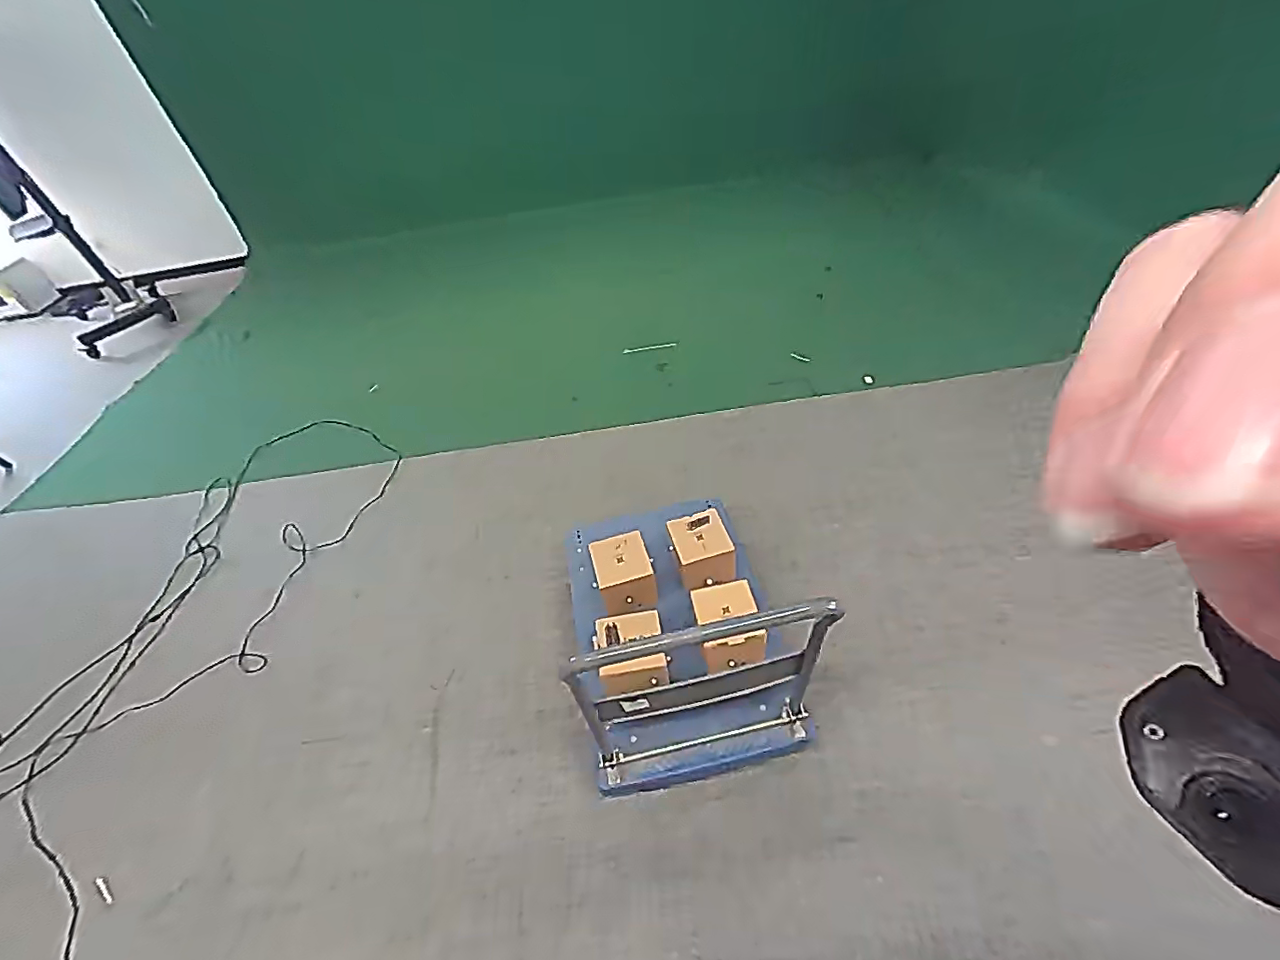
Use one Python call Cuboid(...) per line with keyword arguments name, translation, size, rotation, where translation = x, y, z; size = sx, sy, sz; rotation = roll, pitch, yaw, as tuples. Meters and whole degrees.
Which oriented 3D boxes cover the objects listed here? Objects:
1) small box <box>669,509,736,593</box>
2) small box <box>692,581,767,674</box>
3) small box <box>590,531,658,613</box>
Cuboid(name="small box", translation=(0.195, 0.226, 1.697), size=(0.168, 0.176, 0.179), rotation=(-16, 47, -4))
Cuboid(name="small box", translation=(0.245, 0.413, 1.508), size=(0.168, 0.176, 0.179), rotation=(-12, 46, -2))
Cuboid(name="small box", translation=(-0.047, 0.292, 1.674), size=(0.168, 0.176, 0.179), rotation=(-14, 46, -6))
